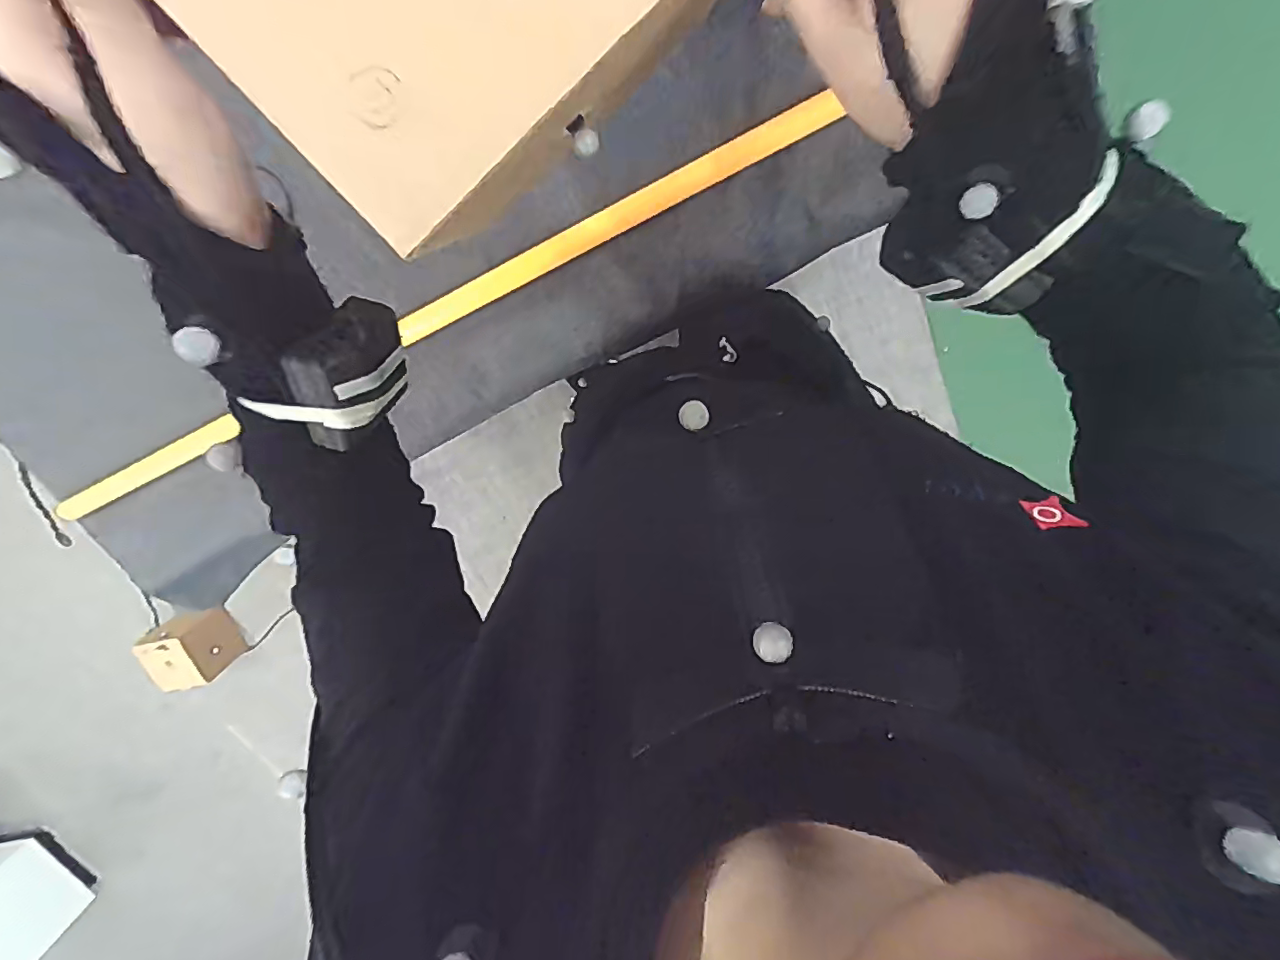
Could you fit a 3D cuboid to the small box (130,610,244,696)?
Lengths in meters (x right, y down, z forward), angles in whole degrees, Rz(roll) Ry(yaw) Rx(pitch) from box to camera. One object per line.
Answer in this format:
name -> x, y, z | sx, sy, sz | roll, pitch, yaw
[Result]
small box -> -1.367, 0.524, 1.647 | 0.168, 0.176, 0.179 | -12, 111, 9
